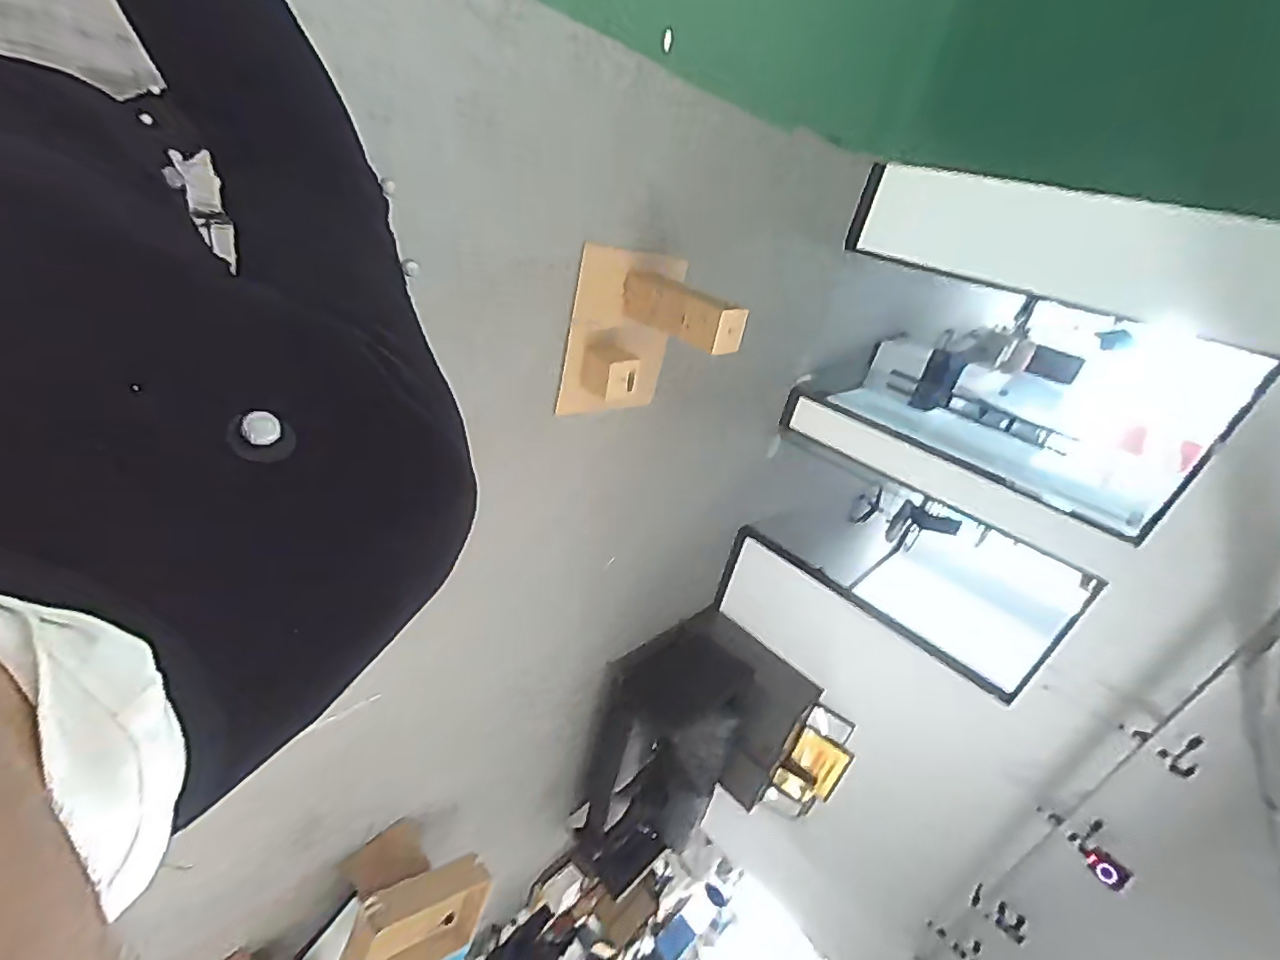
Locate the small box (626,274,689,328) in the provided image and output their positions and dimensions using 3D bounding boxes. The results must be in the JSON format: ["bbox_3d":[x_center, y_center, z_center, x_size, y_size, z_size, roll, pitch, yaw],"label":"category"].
[{"bbox_3d":[0.070,-0.740,2.220,0.179,0.176,0.168,-22,134,-39],"label":"small box"}]

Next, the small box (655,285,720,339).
[{"bbox_3d":[0.183,-0.664,2.130,0.179,0.176,0.168,-20,132,-43],"label":"small box"}]

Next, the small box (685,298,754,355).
[{"bbox_3d":[0.295,-0.584,2.044,0.179,0.176,0.168,-20,132,-43],"label":"small box"}]
